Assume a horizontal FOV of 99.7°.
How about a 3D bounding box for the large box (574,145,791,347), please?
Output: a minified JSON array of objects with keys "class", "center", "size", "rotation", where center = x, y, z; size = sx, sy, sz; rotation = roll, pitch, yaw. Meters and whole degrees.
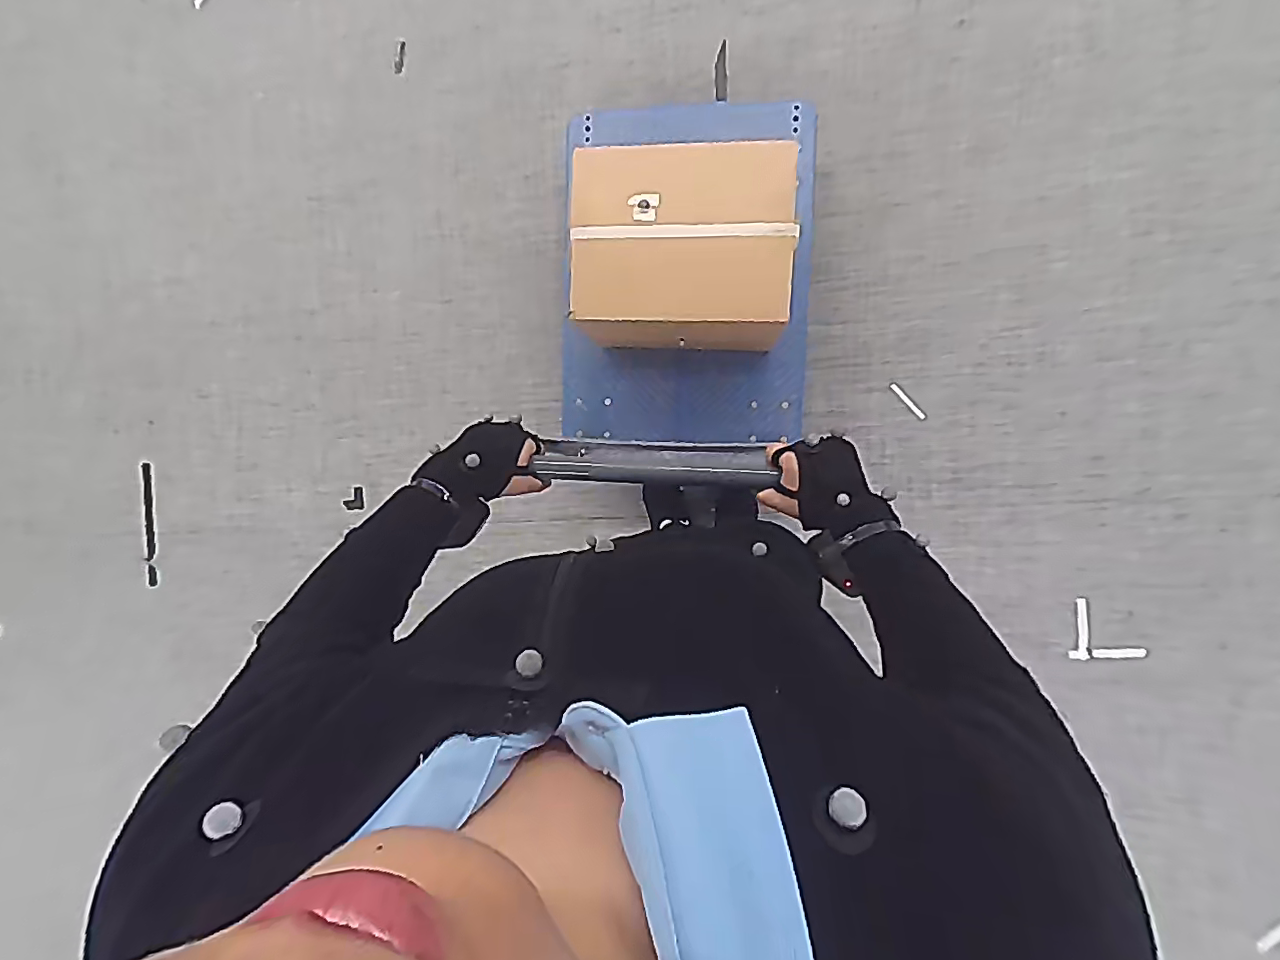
[{"class":"large box","center":[0.096,-0.460,1.146],"size":[0.408,0.320,0.320],"rotation":[2,93,9]}]
